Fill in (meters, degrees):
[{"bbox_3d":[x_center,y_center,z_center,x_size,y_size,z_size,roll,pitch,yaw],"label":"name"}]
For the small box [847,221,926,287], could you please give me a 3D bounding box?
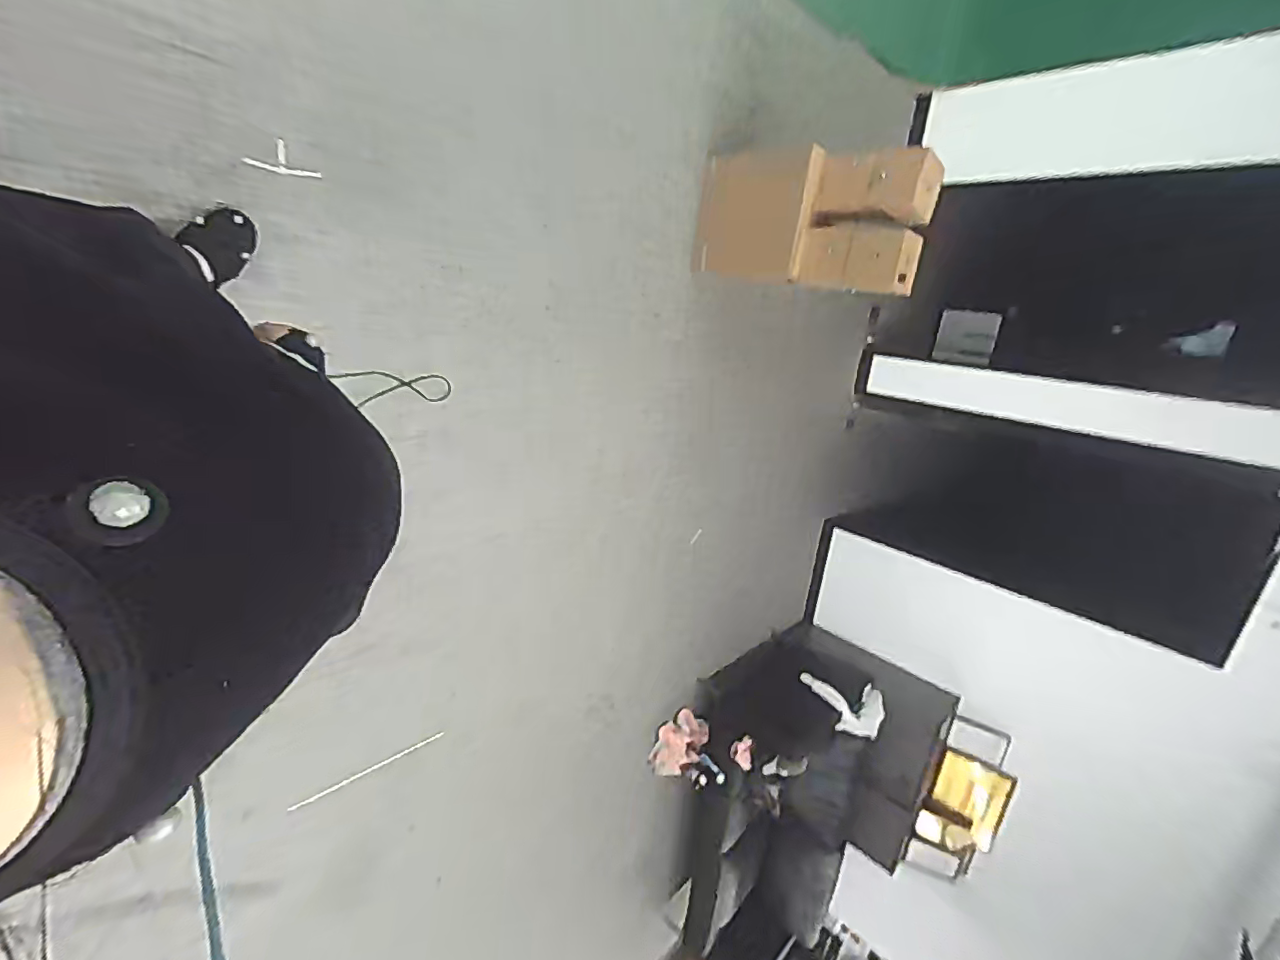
[{"bbox_3d":[0.797,-0.732,1.760,0.168,0.176,0.179,-11,114,-44],"label":"small box"}]
